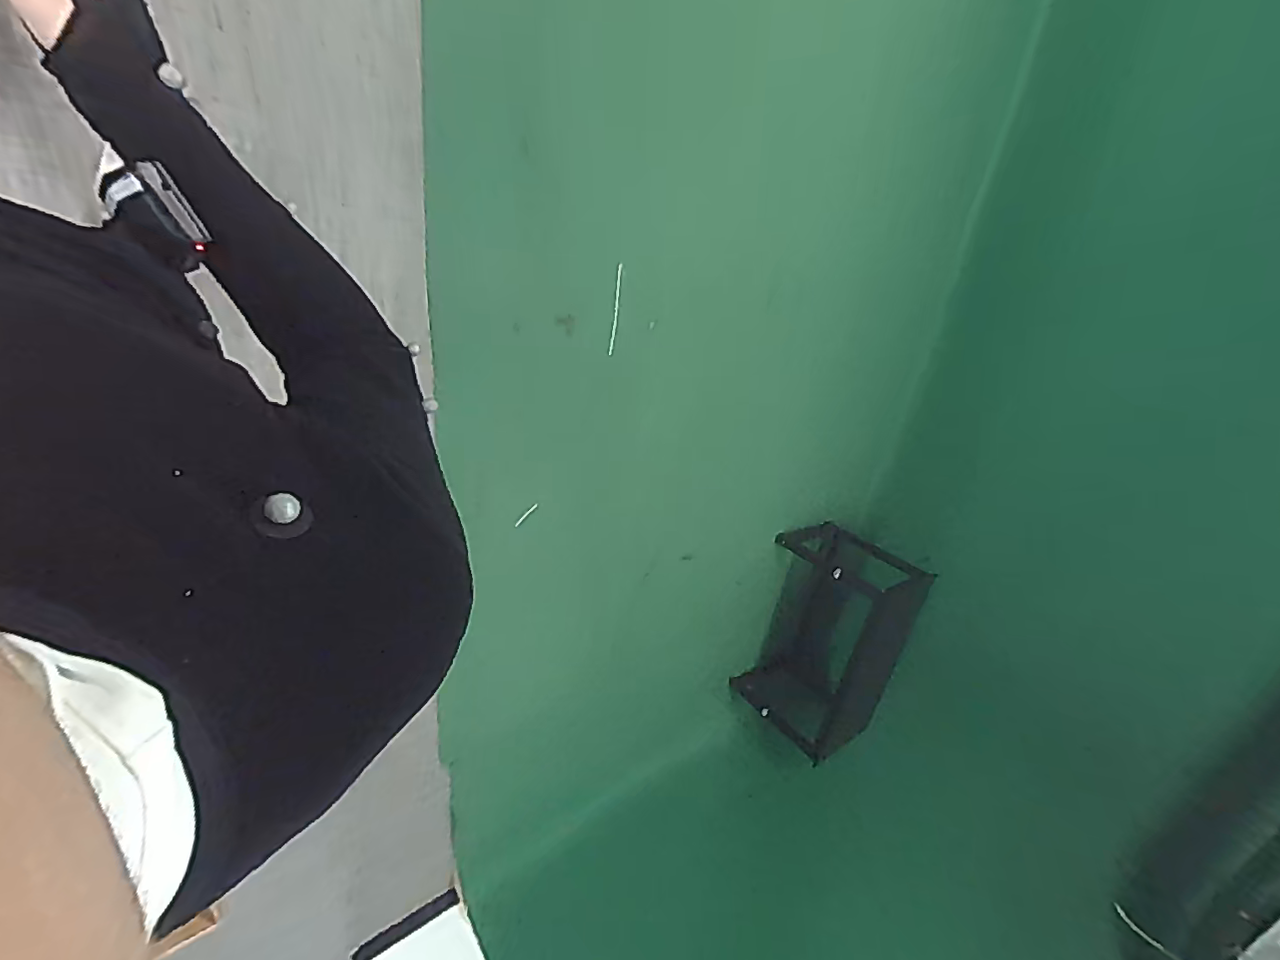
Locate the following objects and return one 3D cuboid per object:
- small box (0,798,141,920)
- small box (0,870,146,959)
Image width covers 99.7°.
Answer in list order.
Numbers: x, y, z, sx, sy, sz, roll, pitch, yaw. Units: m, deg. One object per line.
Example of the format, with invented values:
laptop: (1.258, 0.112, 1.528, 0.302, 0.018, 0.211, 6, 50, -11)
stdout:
small box: (-1.148, 0.801, 1.102, 0.168, 0.176, 0.179, -16, 126, -37)
small box: (-1.047, 0.871, 0.995, 0.168, 0.176, 0.179, -17, 128, -35)
